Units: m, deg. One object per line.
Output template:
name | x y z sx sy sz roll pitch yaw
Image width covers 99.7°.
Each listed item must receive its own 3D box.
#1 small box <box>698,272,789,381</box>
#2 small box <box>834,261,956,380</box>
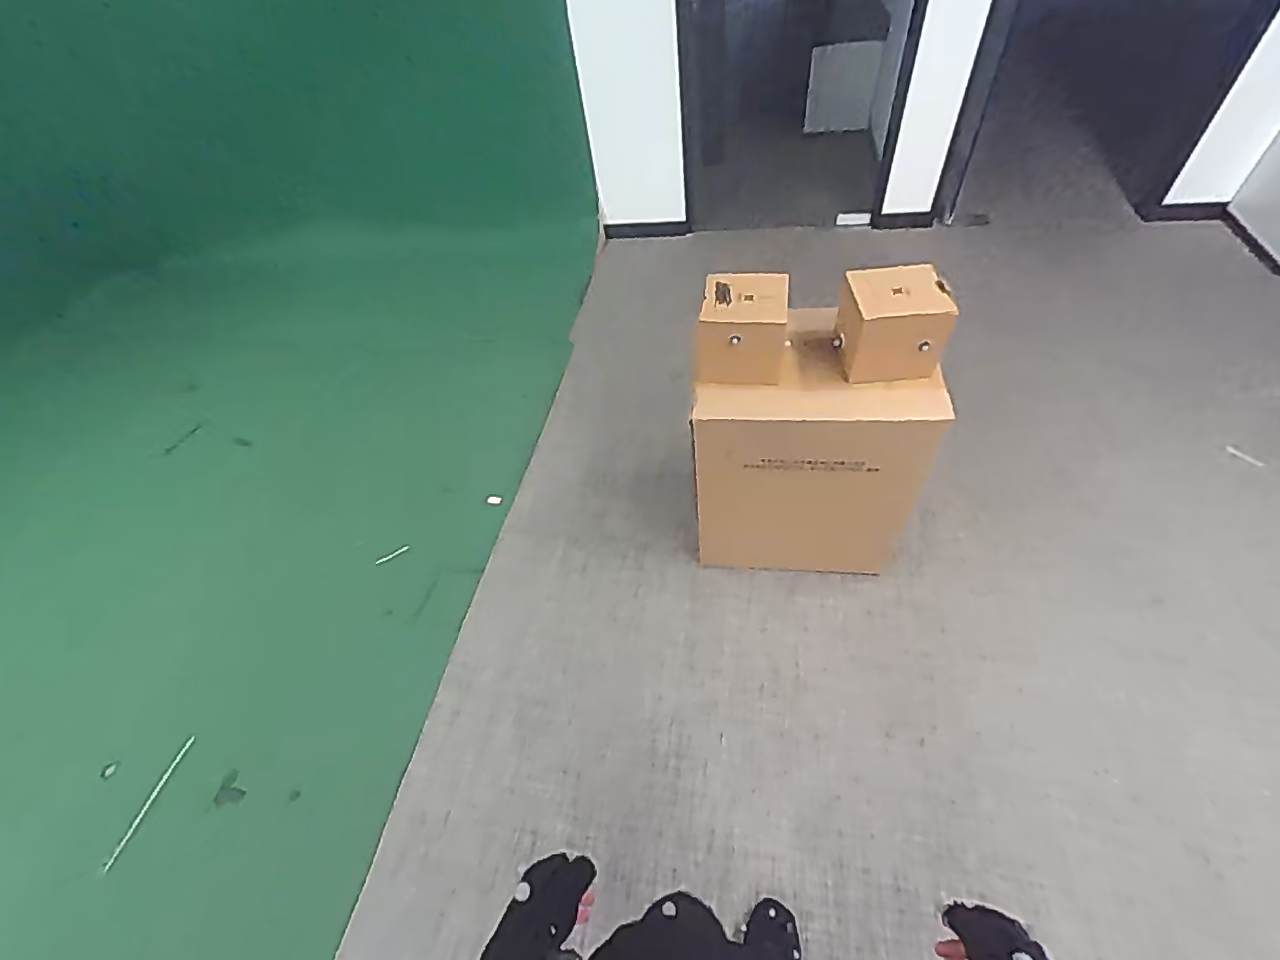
small box | 0.228 -0.334 1.186 0.179 0.176 0.168 4 55 12
small box | 0.524 -0.332 1.137 0.179 0.176 0.168 -5 52 7
